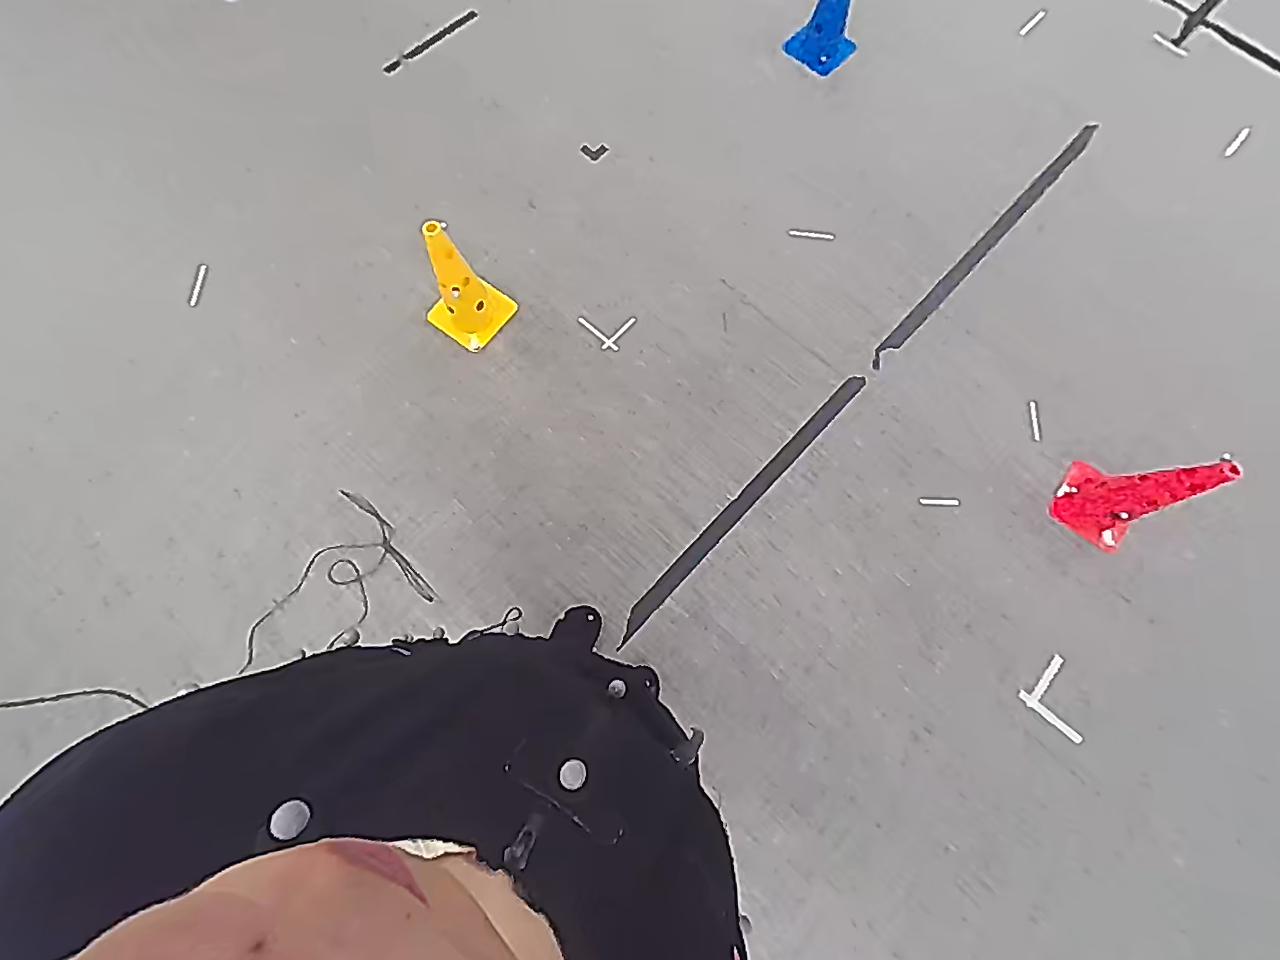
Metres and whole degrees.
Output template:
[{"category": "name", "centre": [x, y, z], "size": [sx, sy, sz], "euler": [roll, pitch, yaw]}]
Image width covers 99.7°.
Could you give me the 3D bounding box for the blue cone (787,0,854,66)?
[{"category": "blue cone", "centre": [0.628, -1.562, 1.712], "size": [0.192, 0.380, 0.193], "euler": [43, 78, 10]}]

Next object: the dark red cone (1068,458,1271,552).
[{"category": "dark red cone", "centre": [1.260, 0.023, 1.278], "size": [0.201, 0.394, 0.202], "euler": [35, 77, 9]}]
